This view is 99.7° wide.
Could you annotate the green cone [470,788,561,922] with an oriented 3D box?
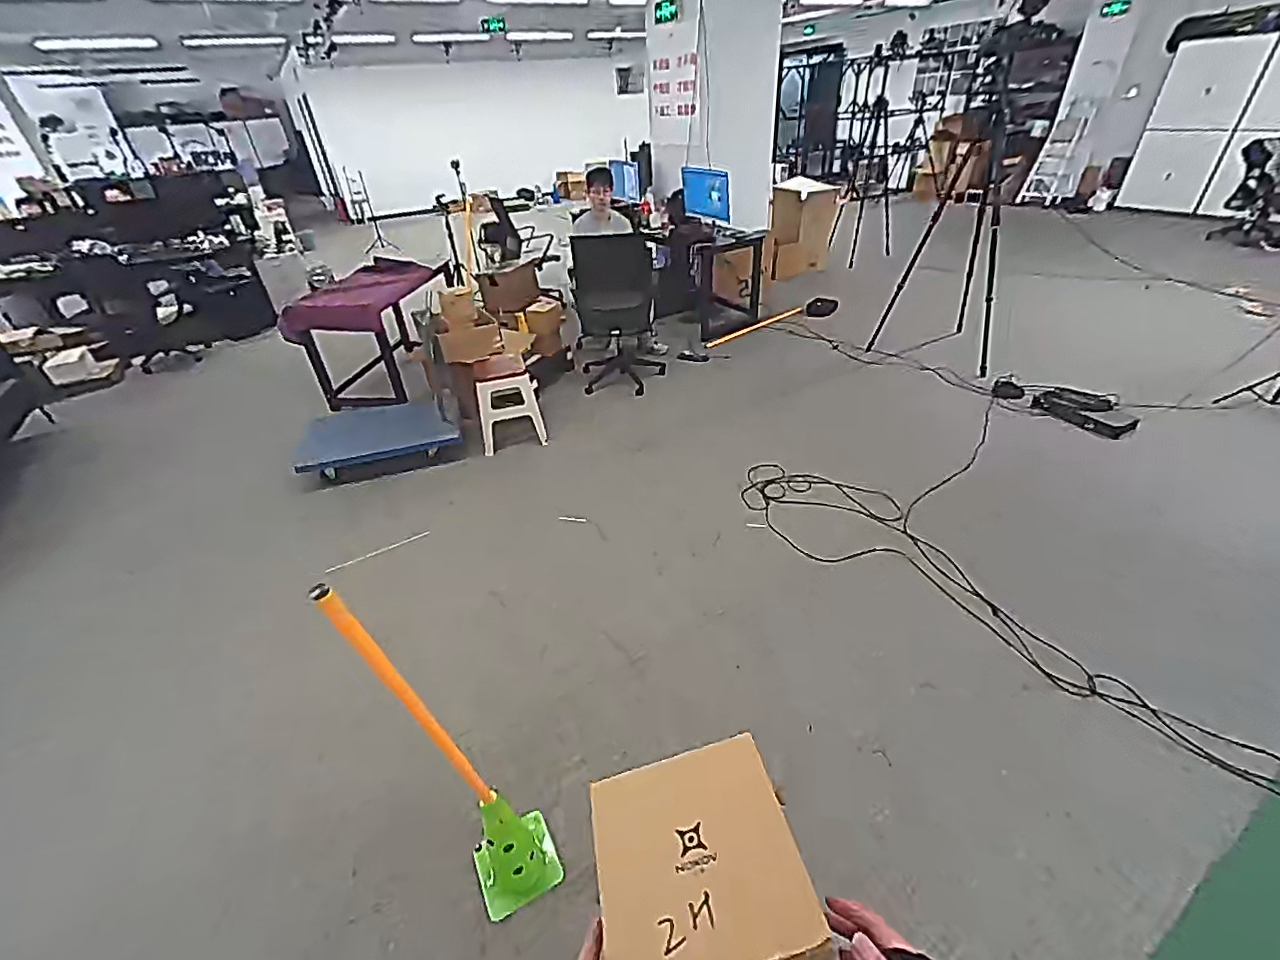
[{"bbox_3d":[-0.338,0.871,1.327,0.202,0.368,0.200,-19,38,-23],"label":"green cone"}]
